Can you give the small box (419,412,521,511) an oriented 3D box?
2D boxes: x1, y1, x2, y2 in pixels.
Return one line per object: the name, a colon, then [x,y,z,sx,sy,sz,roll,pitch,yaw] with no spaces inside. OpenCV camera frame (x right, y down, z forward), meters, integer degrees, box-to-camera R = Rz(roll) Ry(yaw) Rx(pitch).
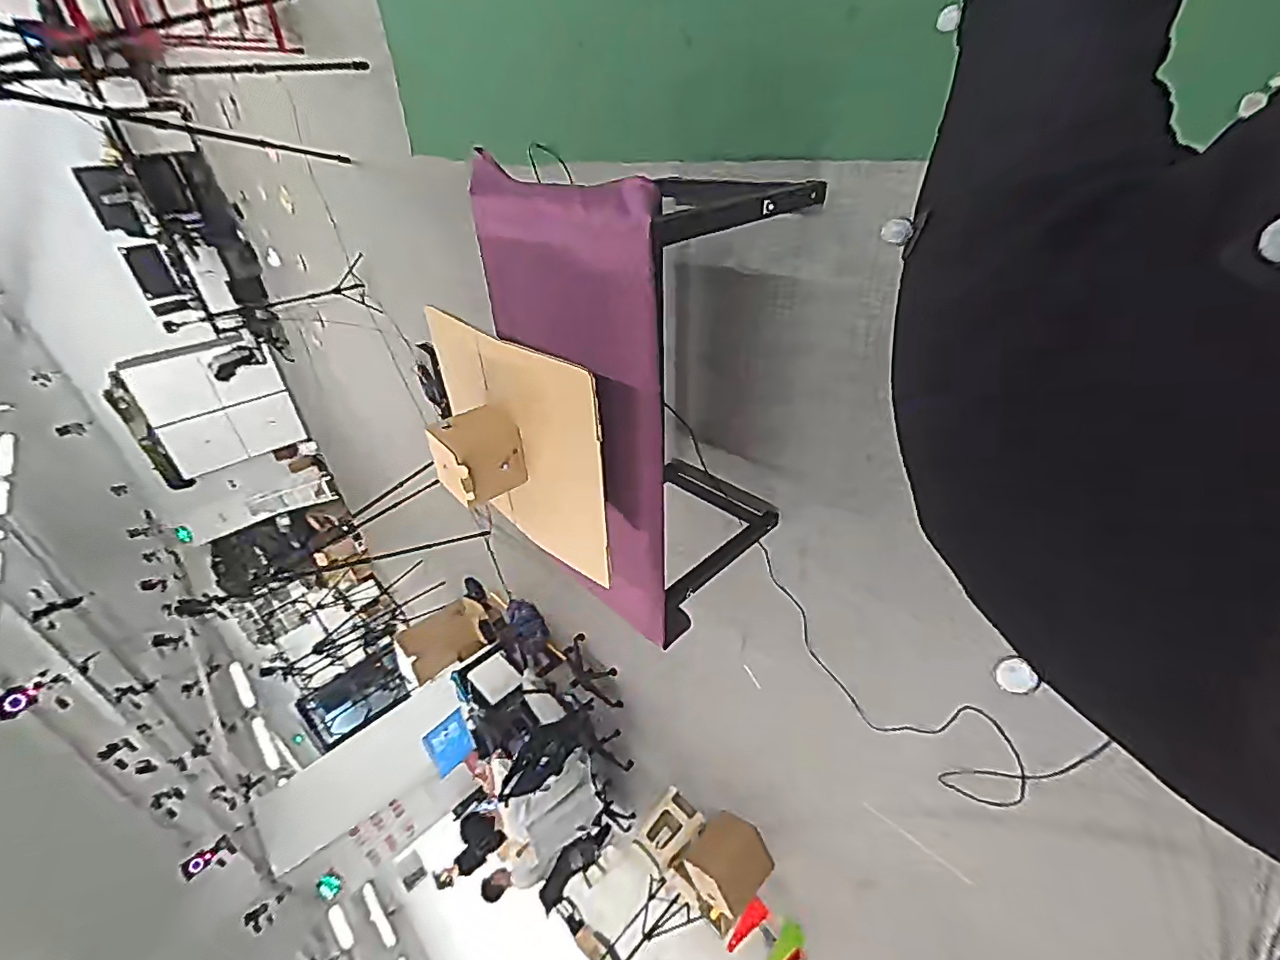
small box: [-0.423,-0.056,1.362,0.179,0.176,0.168,31,137,37]
